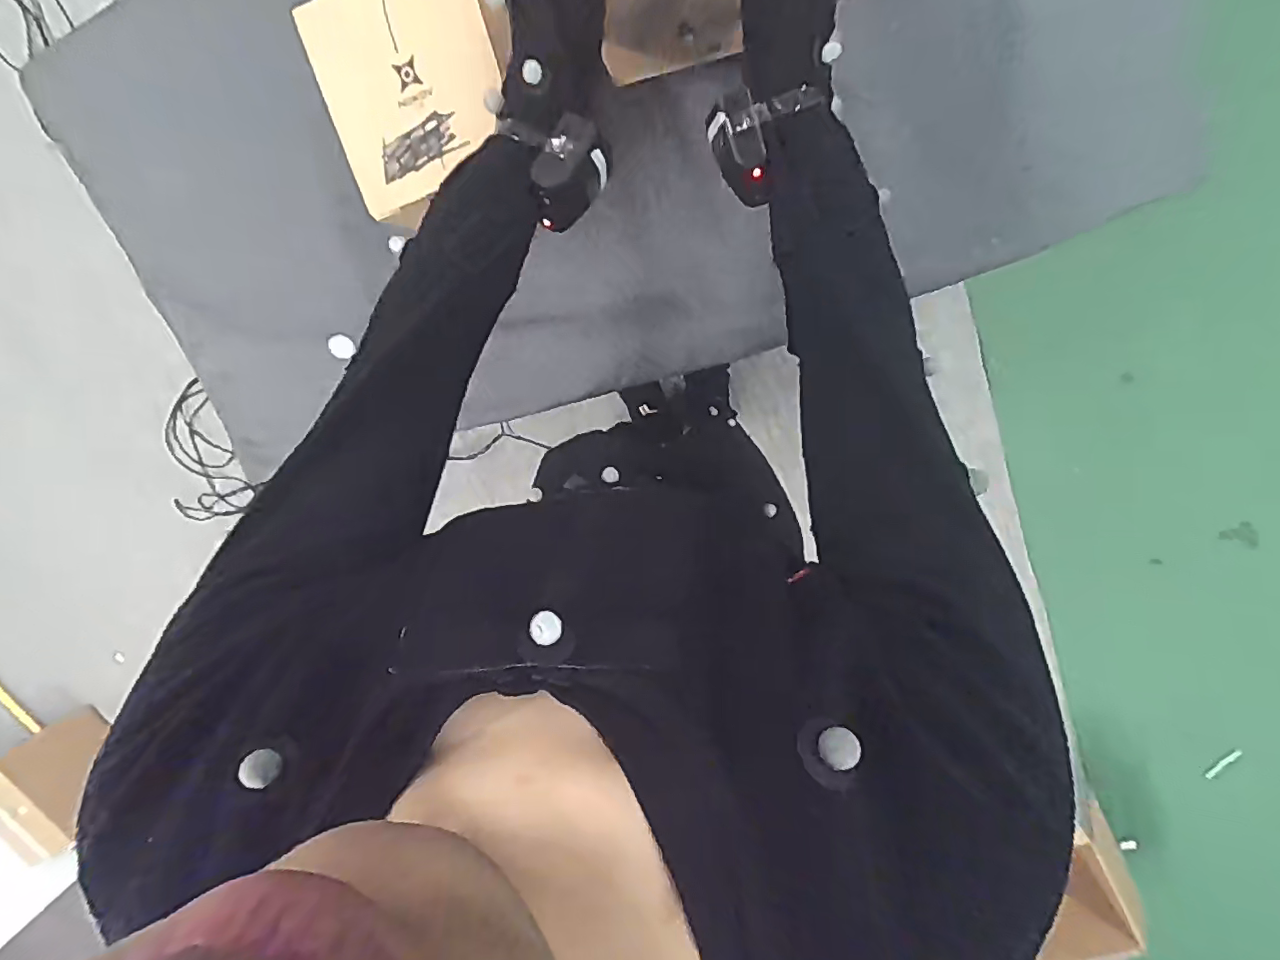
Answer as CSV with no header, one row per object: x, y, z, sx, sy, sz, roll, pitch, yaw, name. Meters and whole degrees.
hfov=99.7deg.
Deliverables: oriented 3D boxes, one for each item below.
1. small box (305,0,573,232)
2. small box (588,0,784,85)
-0.184,-0.370,0.555,0.168,0.176,0.179,-13,105,13,small box
0.030,-0.480,0.446,0.168,0.176,0.179,-6,97,13,small box
